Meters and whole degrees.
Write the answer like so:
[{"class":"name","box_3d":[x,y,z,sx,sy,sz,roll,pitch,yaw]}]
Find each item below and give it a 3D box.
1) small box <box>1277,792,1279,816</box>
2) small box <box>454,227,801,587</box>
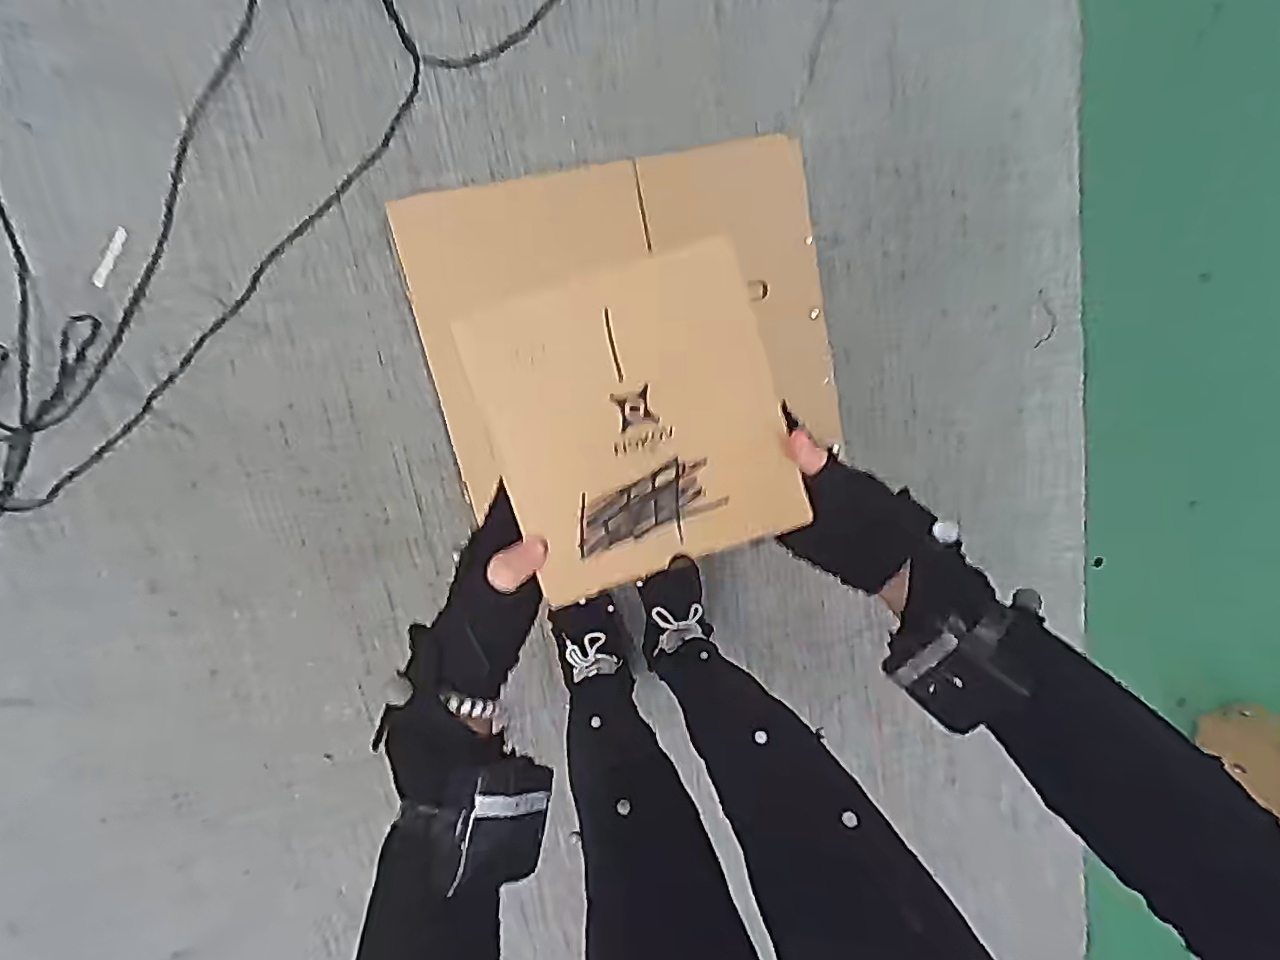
[{"class":"small box","box_3d":[1.497,0.675,1.123,0.168,0.176,0.179,-9,101,-8]},{"class":"small box","box_3d":[-0.008,-0.050,0.393,0.168,0.176,0.179,-18,99,-3]}]
